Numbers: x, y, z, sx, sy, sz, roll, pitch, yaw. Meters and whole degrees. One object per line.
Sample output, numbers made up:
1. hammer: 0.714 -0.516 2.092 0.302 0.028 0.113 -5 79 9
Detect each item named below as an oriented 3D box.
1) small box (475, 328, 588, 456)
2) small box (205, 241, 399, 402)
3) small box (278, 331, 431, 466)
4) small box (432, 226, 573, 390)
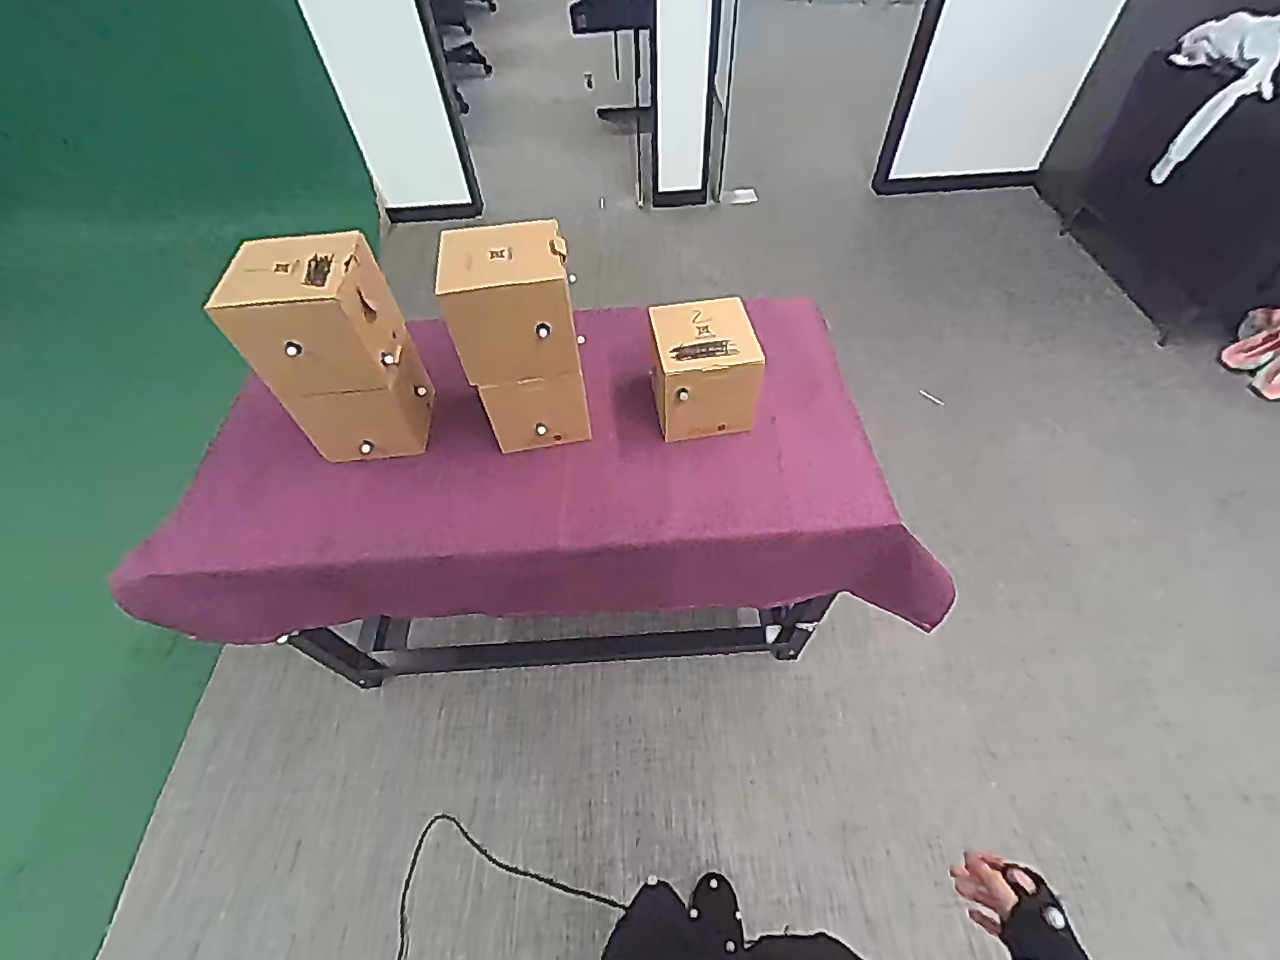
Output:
1. small box: -0.192 -0.169 0.969 0.168 0.176 0.179 -10 55 -4
2. small box: -0.495 -0.238 0.828 0.179 0.176 0.168 -6 54 -1
3. small box: -0.490 -0.141 0.962 0.179 0.176 0.168 -5 54 -2
4. small box: -0.200 -0.262 0.835 0.179 0.176 0.168 -9 53 -3
